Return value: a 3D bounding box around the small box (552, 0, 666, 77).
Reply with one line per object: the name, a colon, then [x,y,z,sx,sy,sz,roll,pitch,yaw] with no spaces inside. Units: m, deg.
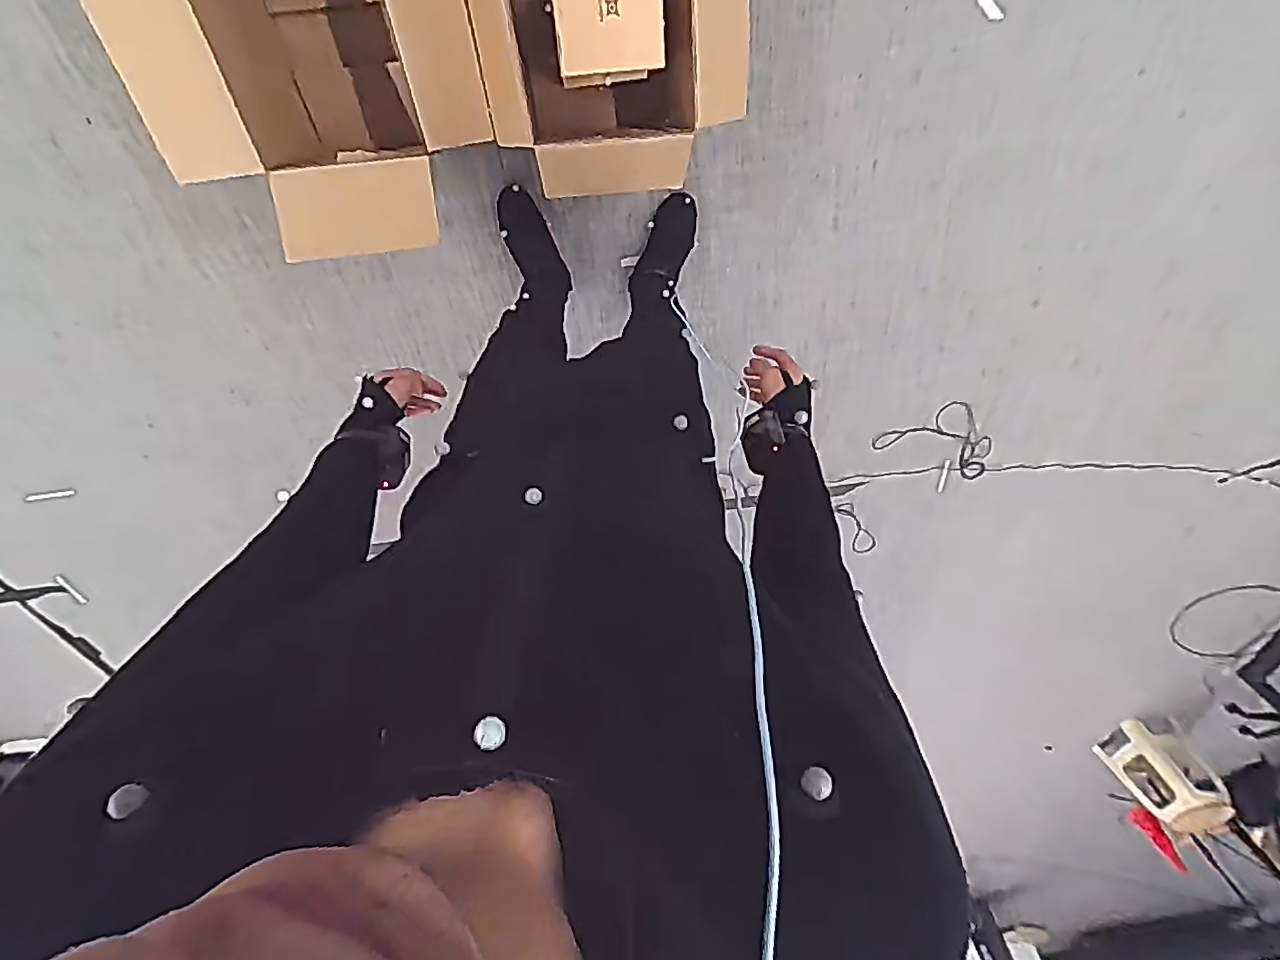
small box: [-0.057,-0.794,0.913,0.179,0.176,0.168,-8,128,-3]
